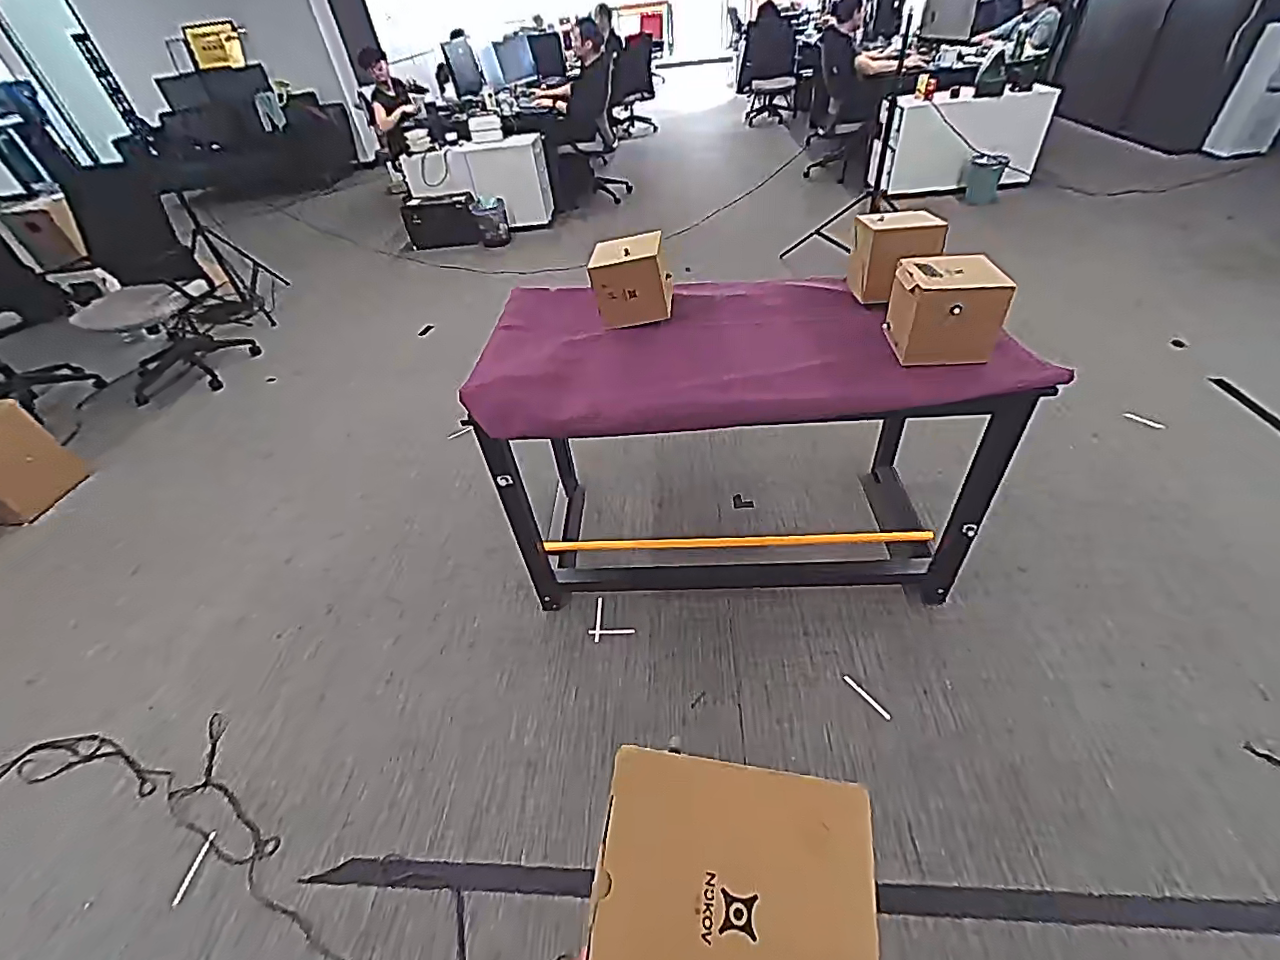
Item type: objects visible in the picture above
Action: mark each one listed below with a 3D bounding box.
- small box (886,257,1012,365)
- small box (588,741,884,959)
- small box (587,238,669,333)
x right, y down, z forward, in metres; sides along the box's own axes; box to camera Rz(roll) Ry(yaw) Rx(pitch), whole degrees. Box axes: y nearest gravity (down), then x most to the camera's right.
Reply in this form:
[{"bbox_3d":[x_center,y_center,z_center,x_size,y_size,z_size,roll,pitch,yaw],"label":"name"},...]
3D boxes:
[{"bbox_3d":[0.638,-0.355,1.147,0.179,0.176,0.168,-1,41,7],"label":"small box"},{"bbox_3d":[0.068,0.304,0.402,0.179,0.176,0.168,3,59,10],"label":"small box"},{"bbox_3d":[-0.022,-0.504,1.390,0.179,0.168,0.176,-6,40,12],"label":"small box"}]
